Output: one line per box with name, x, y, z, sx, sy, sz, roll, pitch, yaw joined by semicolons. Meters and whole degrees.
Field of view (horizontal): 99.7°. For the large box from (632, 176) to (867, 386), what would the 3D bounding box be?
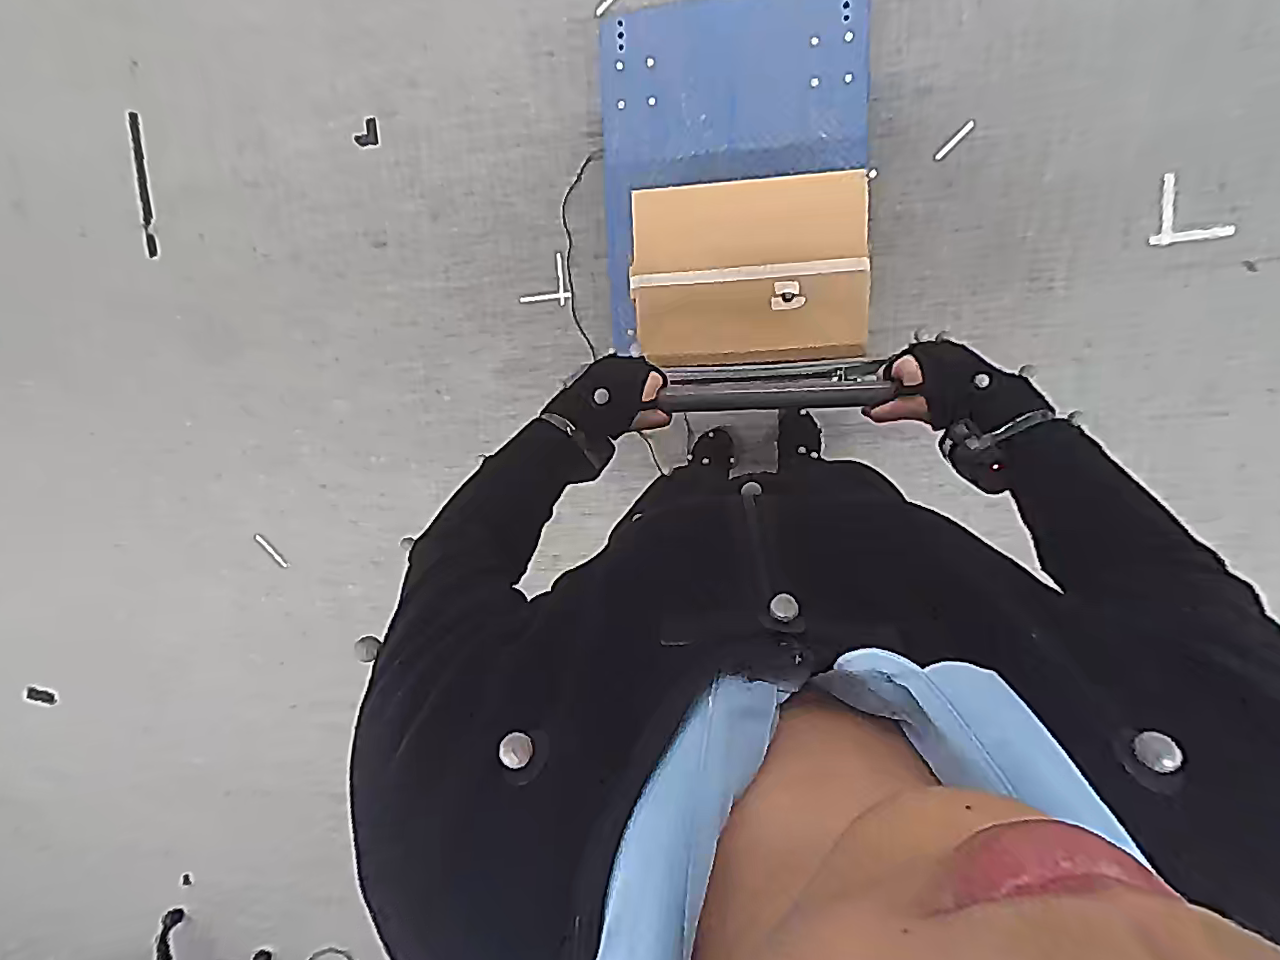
large box;0.206;-0.367;1.093;0.408;0.320;0.320;-2;97;7
